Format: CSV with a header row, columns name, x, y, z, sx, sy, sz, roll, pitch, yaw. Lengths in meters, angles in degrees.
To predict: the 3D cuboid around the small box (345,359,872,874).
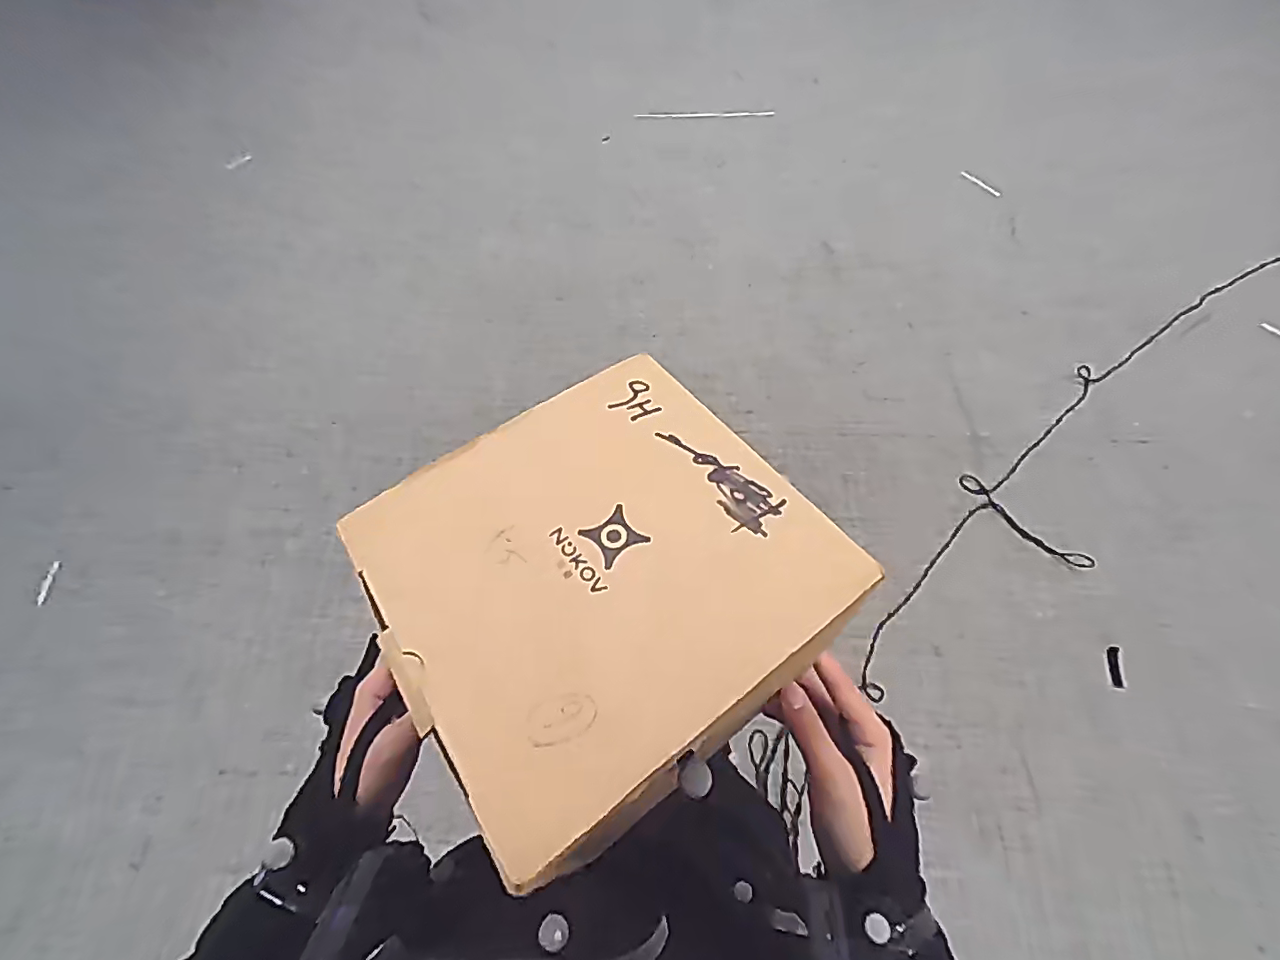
name,x,y,z,sx,sy,sz,roll,pitch,yaw
small box,-0.014,0.074,0.297,0.179,0.176,0.168,-33,60,-17
